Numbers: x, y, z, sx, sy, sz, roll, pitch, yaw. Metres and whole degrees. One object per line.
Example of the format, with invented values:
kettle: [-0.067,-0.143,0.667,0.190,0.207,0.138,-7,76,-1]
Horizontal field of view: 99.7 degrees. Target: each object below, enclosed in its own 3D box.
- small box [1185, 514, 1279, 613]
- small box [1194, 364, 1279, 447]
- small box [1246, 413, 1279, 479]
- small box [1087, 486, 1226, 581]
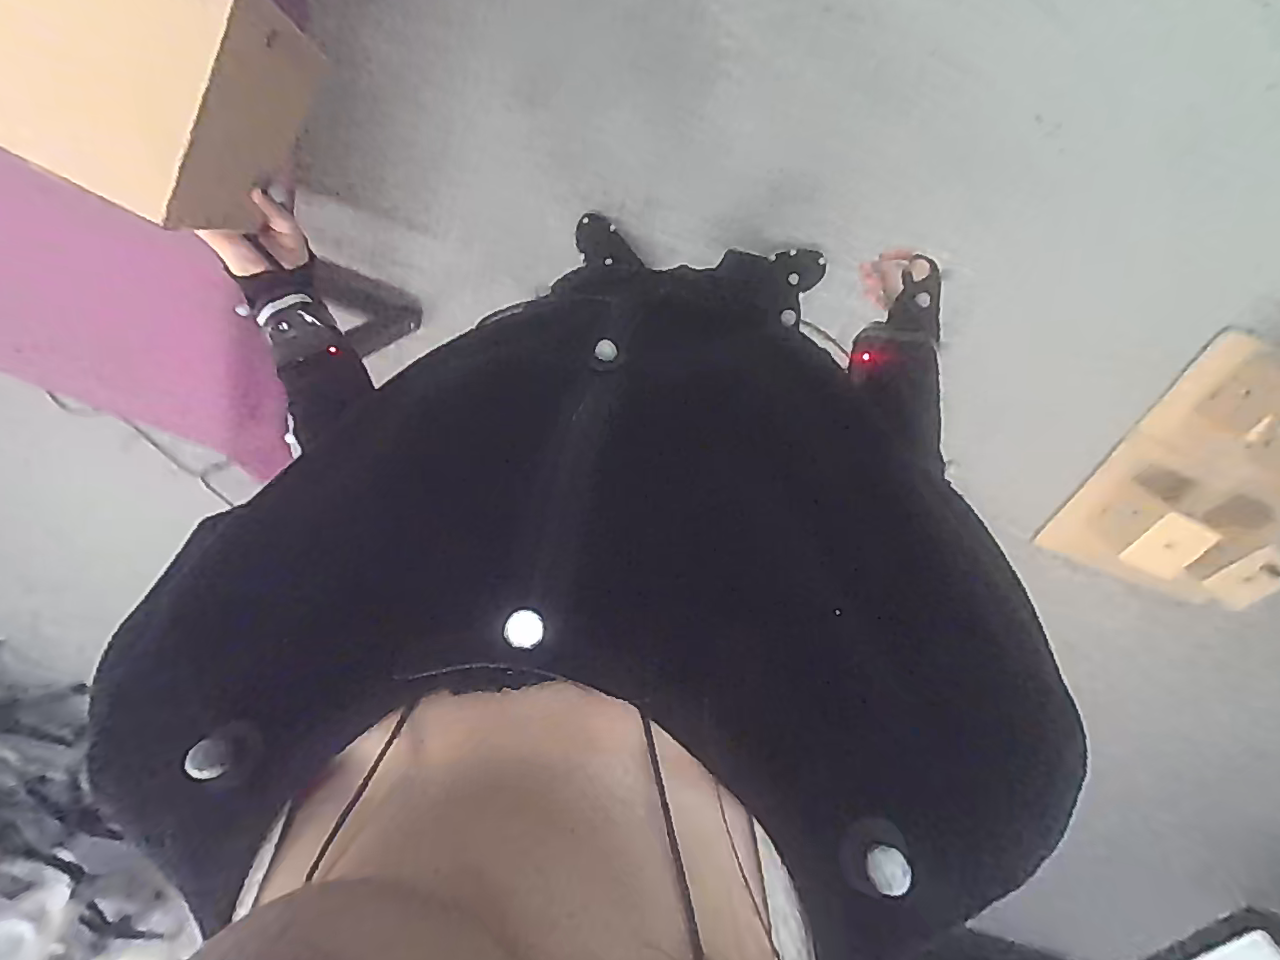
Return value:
small box: [1.632,0.225,1.499,0.168,0.176,0.179,34,117,-13]
small box: [1.524,-0.162,1.302,0.179,0.176,0.168,24,118,-8]
small box: [1.515,-0.064,1.170,0.179,0.176,0.168,9,118,1]
small box: [1.392,0.138,1.474,0.179,0.176,0.168,23,118,-8]
